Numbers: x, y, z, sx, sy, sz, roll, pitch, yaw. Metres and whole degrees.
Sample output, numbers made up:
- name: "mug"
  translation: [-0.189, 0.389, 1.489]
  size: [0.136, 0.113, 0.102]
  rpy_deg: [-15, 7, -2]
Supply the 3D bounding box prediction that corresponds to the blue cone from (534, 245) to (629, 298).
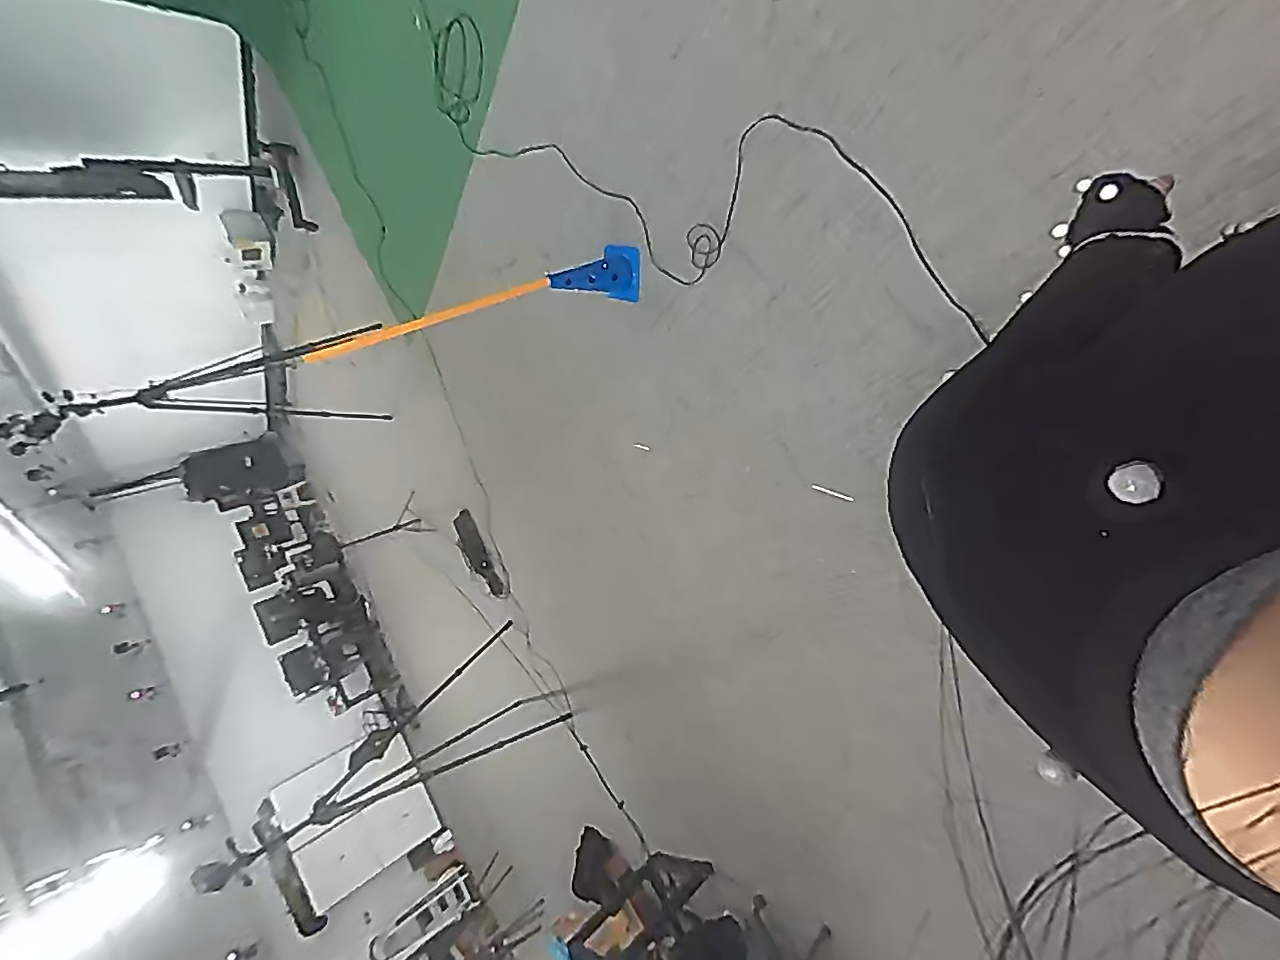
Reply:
- name: "blue cone"
  translation: [-0.222, -0.753, 1.997]
  size: [0.192, 0.380, 0.193]
  rpy_deg: [24, 126, 39]
